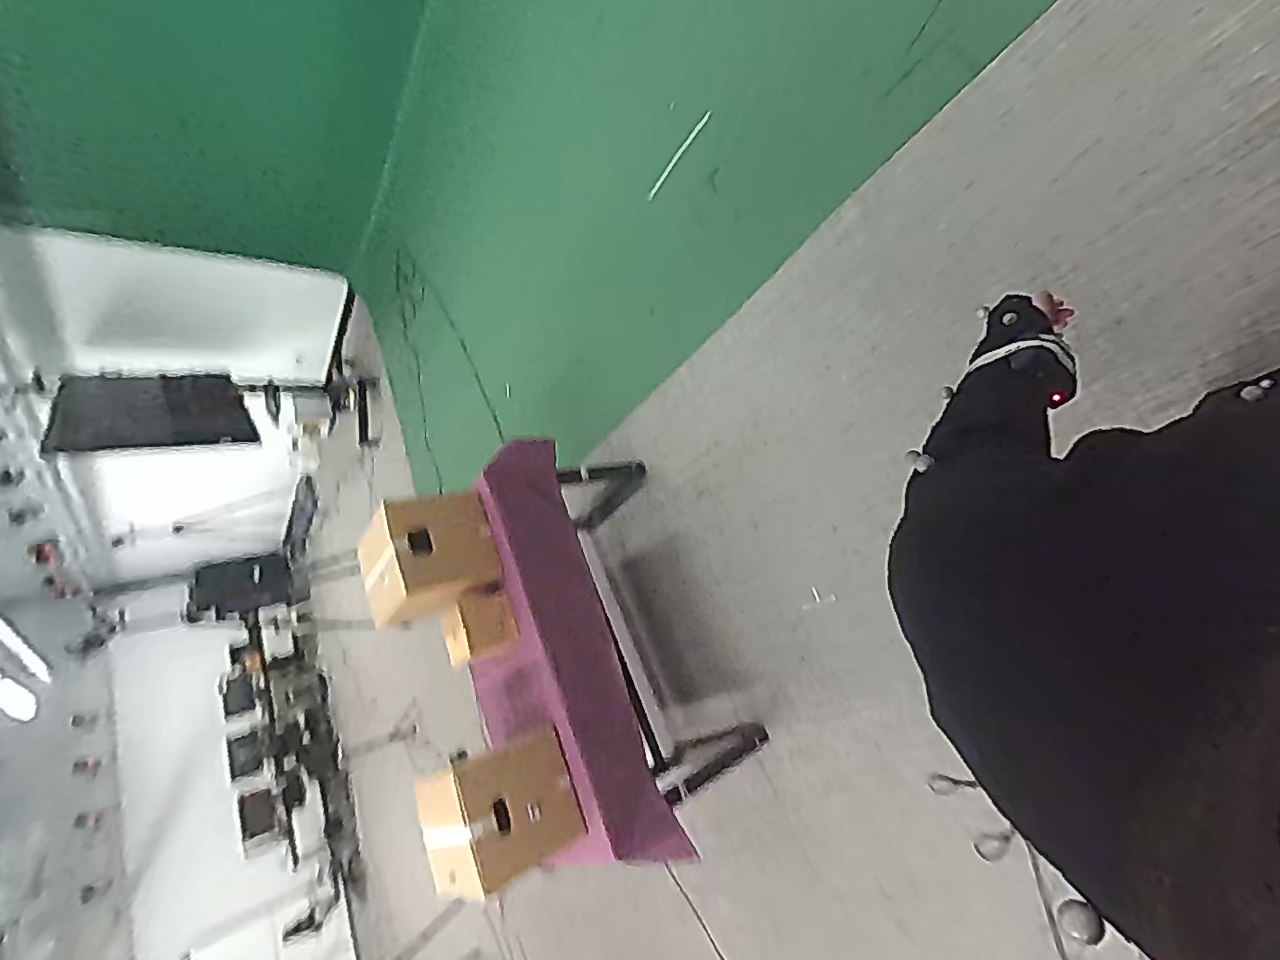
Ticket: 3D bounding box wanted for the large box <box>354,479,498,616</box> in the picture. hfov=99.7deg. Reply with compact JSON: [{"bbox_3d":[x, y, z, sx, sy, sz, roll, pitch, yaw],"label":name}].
[{"bbox_3d":[-0.731,0.225,1.826,0.408,0.320,0.320,-37,68,43],"label":"large box"}]
